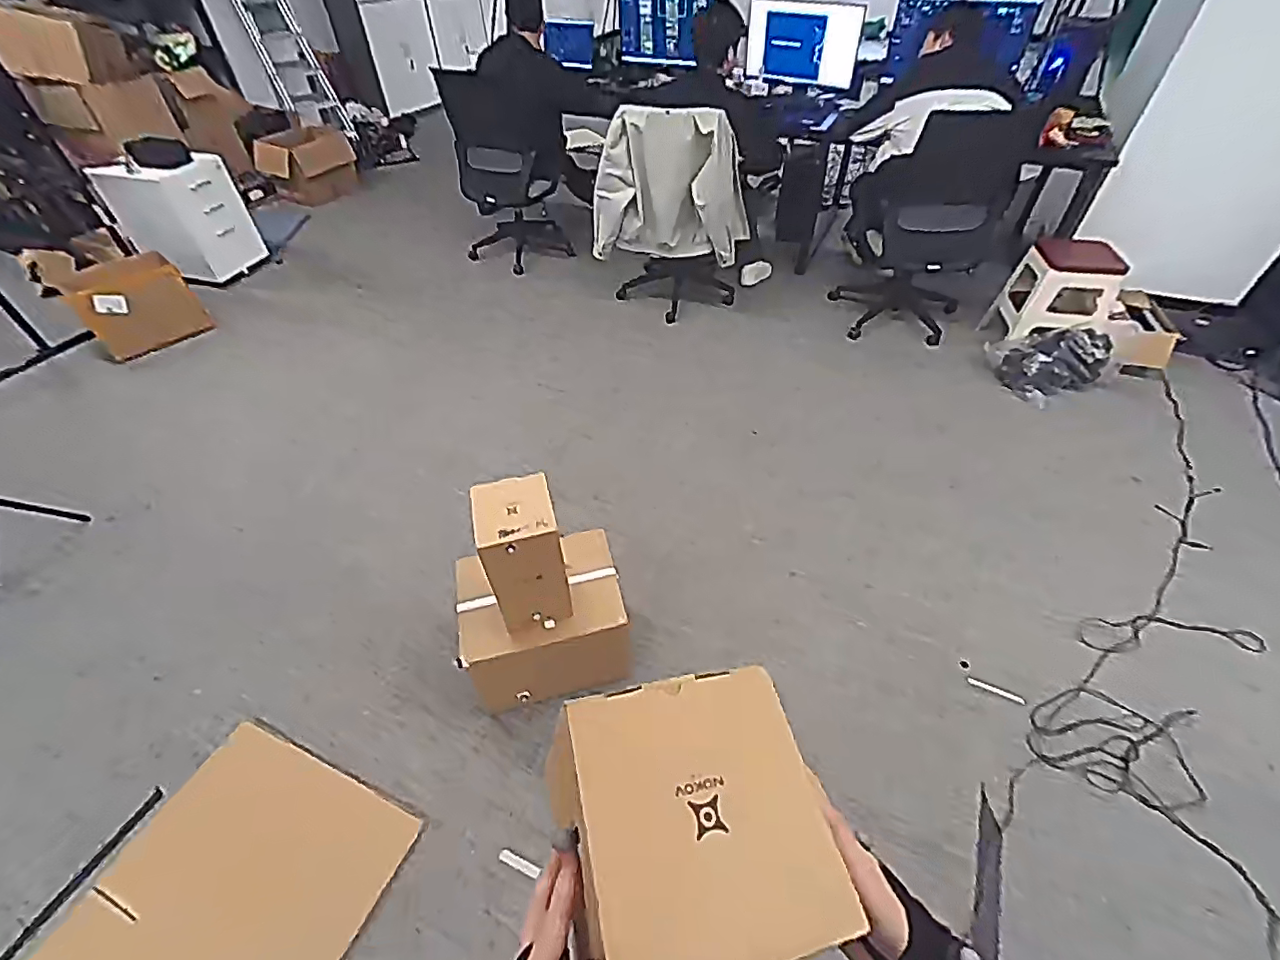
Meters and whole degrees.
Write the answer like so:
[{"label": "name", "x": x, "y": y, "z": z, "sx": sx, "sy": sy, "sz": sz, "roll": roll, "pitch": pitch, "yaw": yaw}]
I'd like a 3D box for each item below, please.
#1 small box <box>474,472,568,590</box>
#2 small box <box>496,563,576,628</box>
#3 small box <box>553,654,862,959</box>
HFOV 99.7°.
[{"label": "small box", "x": -0.261, "y": 0.113, "z": 1.194, "sx": 0.168, "sy": 0.176, "sz": 0.179, "roll": -13, "pitch": 47, "yaw": -10}, {"label": "small box", "x": -0.257, "y": 0.229, "z": 1.311, "sx": 0.168, "sy": 0.176, "sz": 0.179, "roll": -13, "pitch": 48, "yaw": -10}, {"label": "small box", "x": 0.028, "y": 0.264, "z": 0.422, "sx": 0.168, "sy": 0.176, "sz": 0.179, "roll": -4, "pitch": 49, "yaw": -18}]
